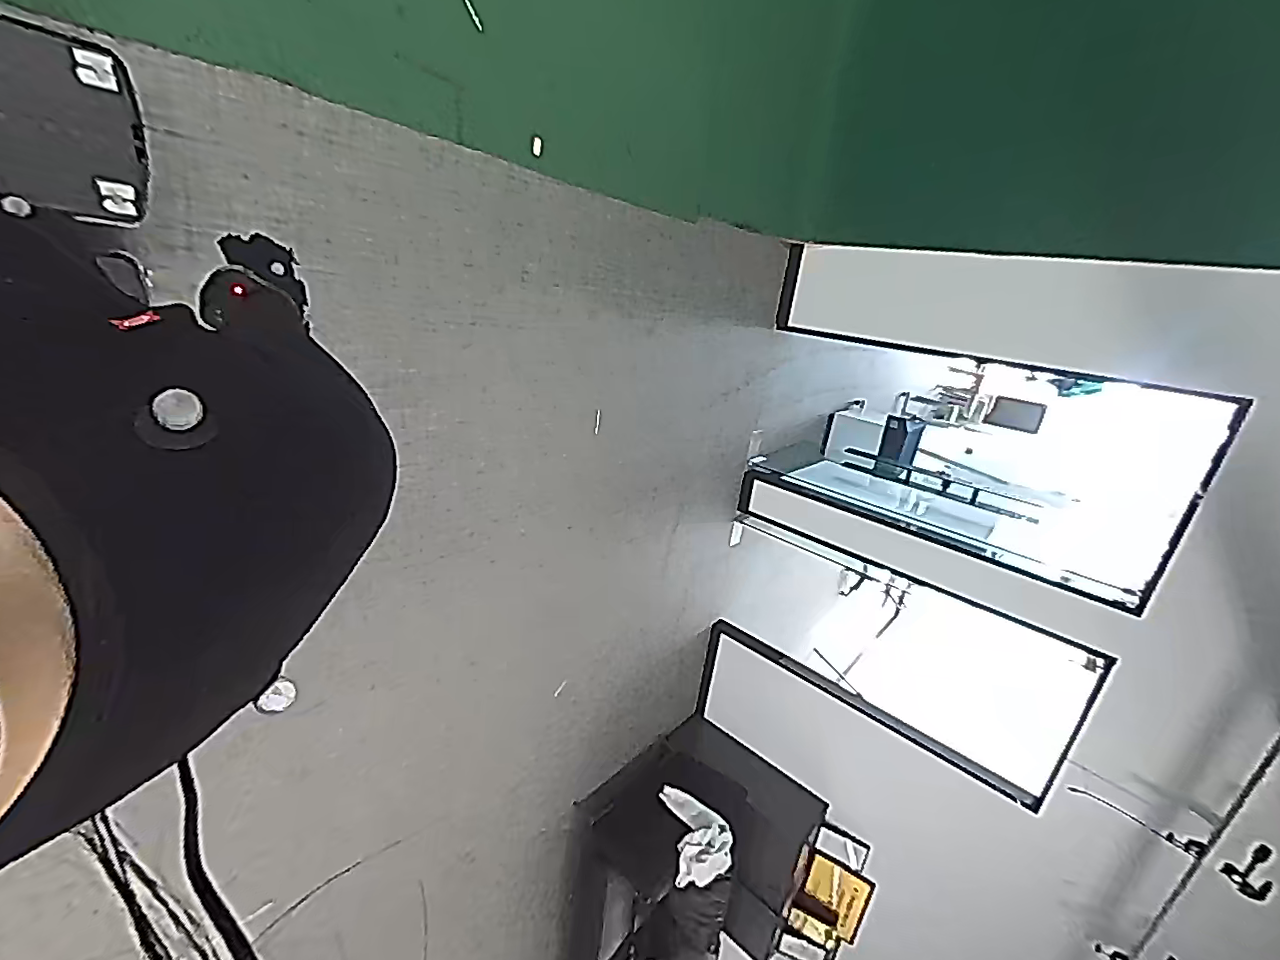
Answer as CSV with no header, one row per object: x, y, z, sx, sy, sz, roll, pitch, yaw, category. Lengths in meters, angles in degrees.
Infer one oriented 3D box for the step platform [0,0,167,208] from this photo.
-1.022,-0.535,0.634,0.684,0.204,0.286,-14,120,-47,step platform
